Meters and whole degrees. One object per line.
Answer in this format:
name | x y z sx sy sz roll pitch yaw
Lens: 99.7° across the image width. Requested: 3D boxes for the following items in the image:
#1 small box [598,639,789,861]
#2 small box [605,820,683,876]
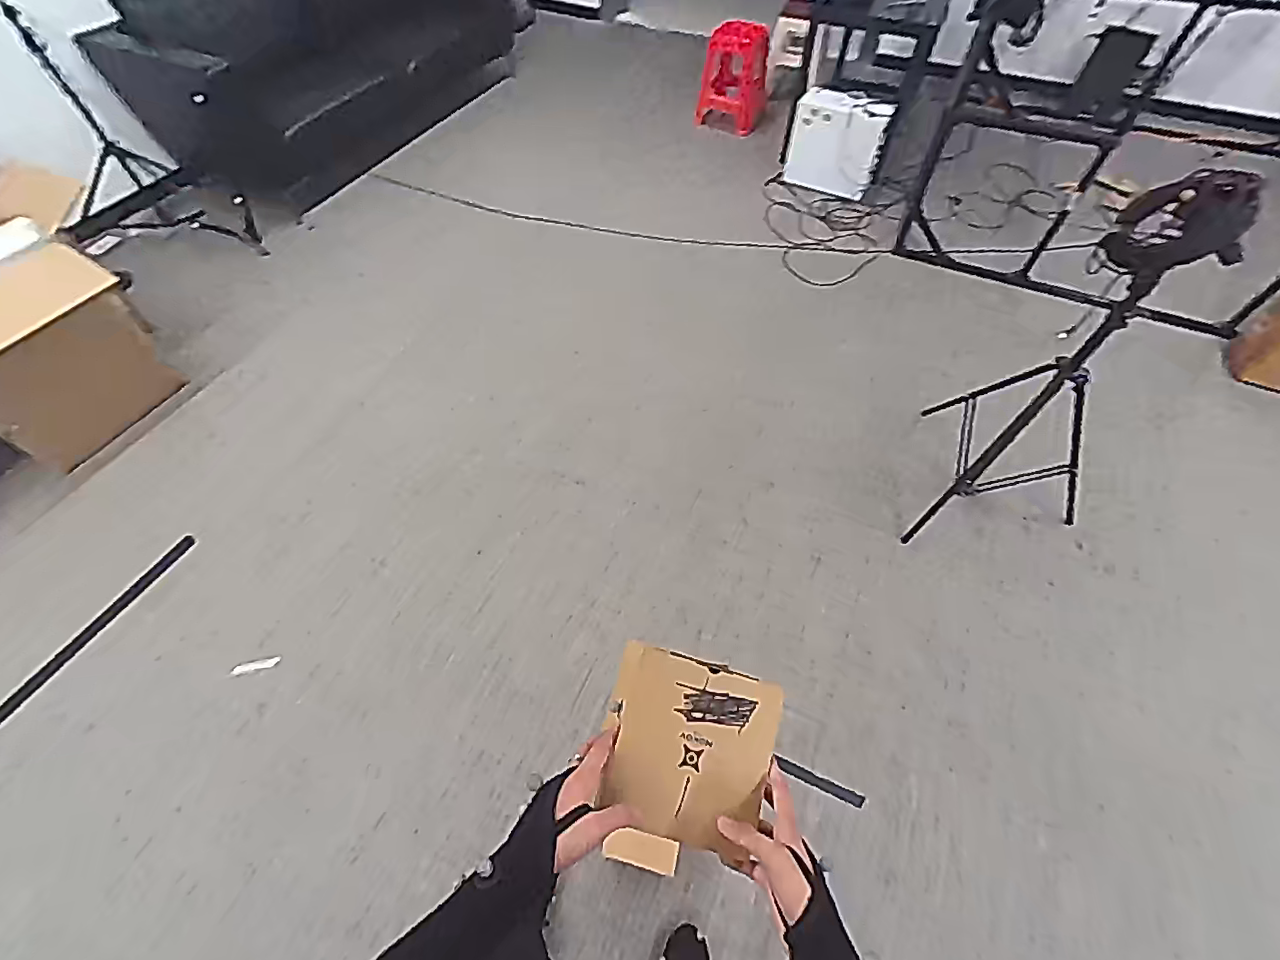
small box | 0.052 0.294 0.633 0.168 0.176 0.179 18 75 -2
small box | 0.021 0.803 1.272 0.168 0.176 0.179 12 56 9
